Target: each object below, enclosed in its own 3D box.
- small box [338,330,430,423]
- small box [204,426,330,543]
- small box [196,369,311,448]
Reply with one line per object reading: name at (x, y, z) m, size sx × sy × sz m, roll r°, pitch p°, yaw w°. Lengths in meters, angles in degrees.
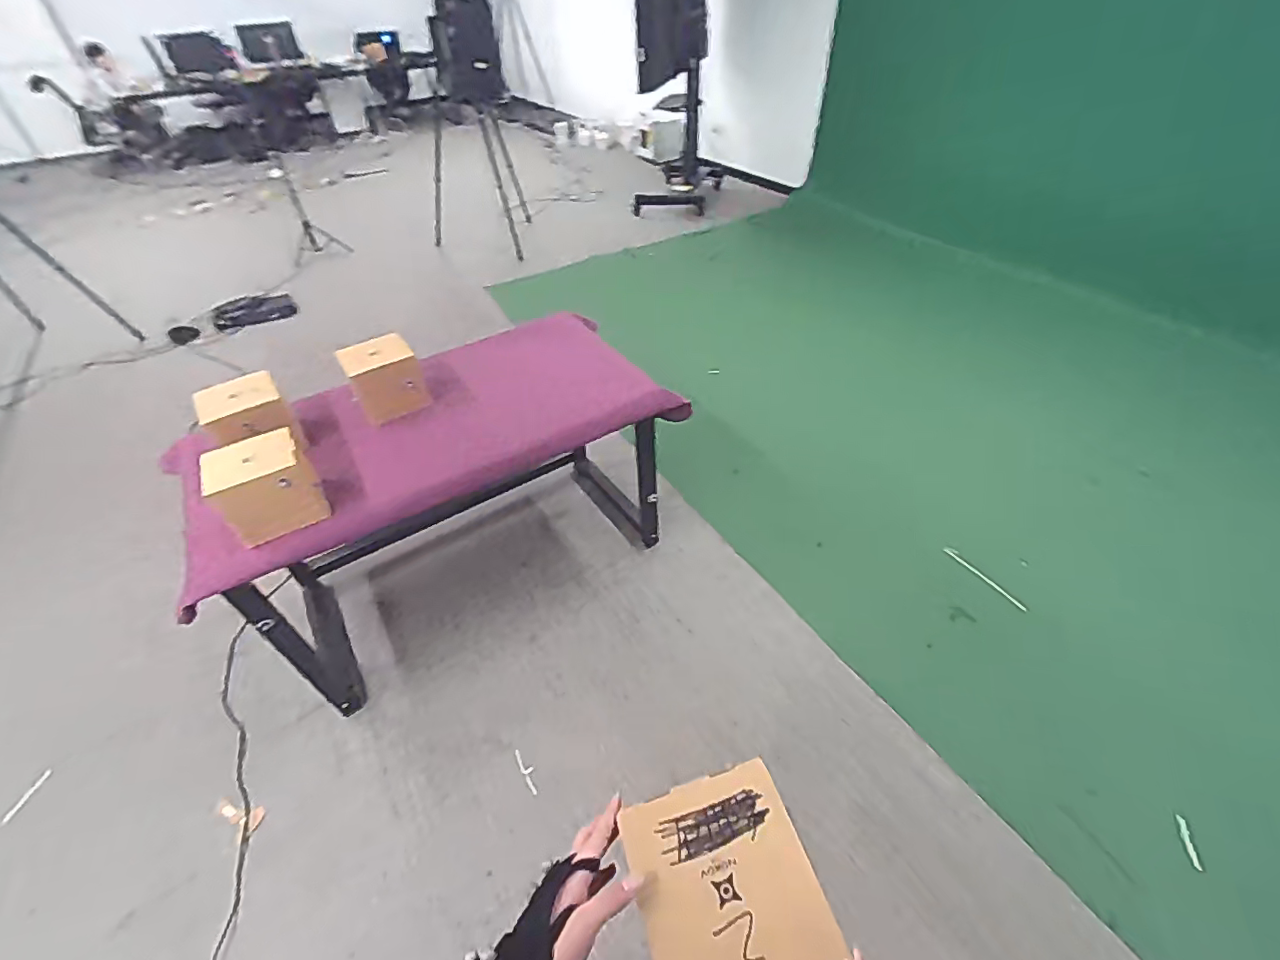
small box at (-0.713, -0.291, 1.524) m, size 0.179 × 0.176 × 0.168 m, roll -27°, pitch 49°, yaw -22°
small box at (-0.836, 0.011, 1.218) m, size 0.179 × 0.176 × 0.168 m, roll -25°, pitch 47°, yaw -22°
small box at (-0.994, -0.155, 1.397) m, size 0.179 × 0.176 × 0.168 m, roll -28°, pitch 50°, yaw -24°
